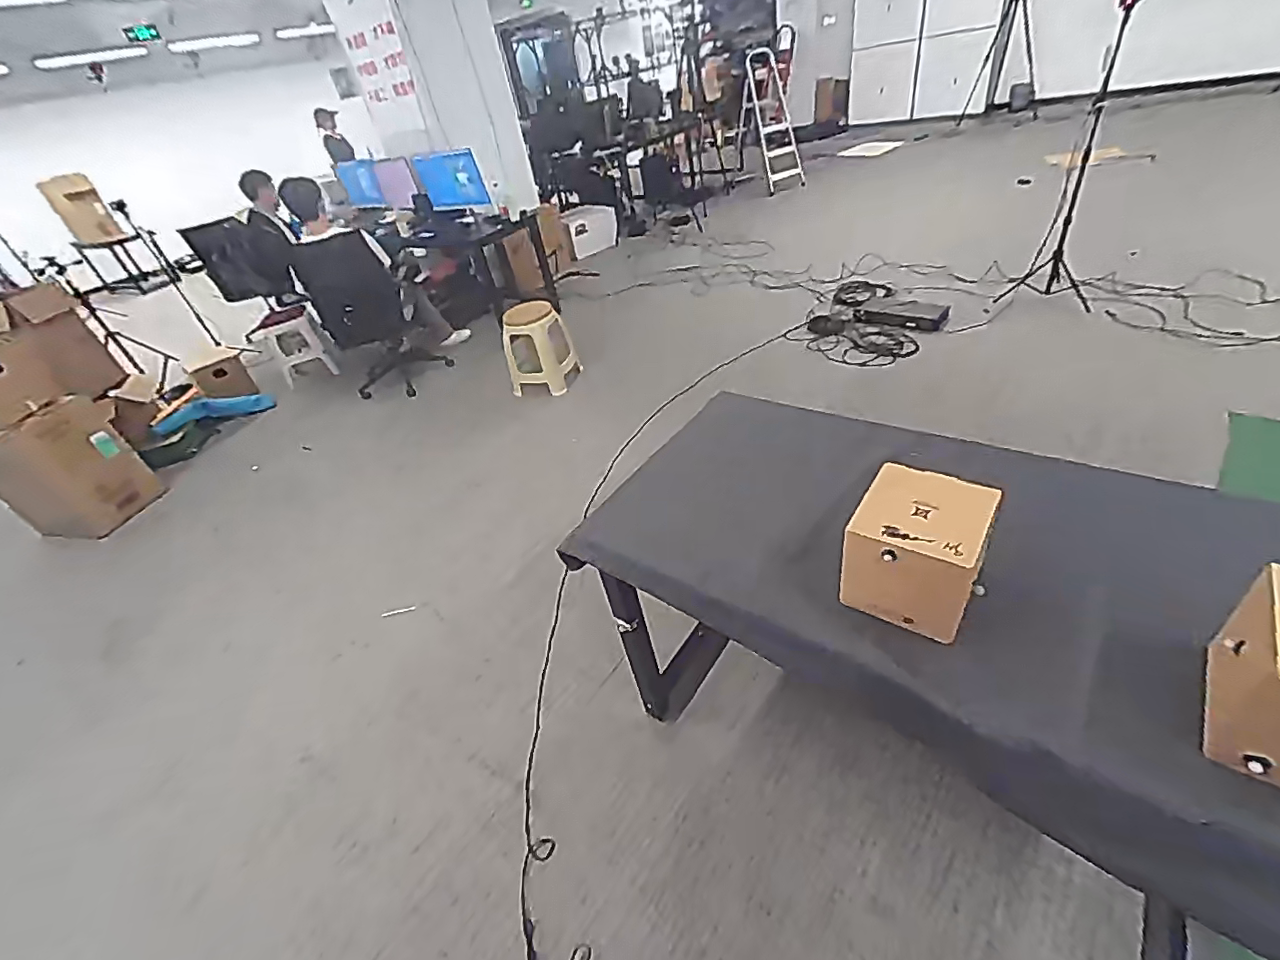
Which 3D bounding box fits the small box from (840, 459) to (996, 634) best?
[{"bbox_3d":[0.420,0.098,0.835,0.168,0.176,0.179,19,47,34],"label":"small box"}]
